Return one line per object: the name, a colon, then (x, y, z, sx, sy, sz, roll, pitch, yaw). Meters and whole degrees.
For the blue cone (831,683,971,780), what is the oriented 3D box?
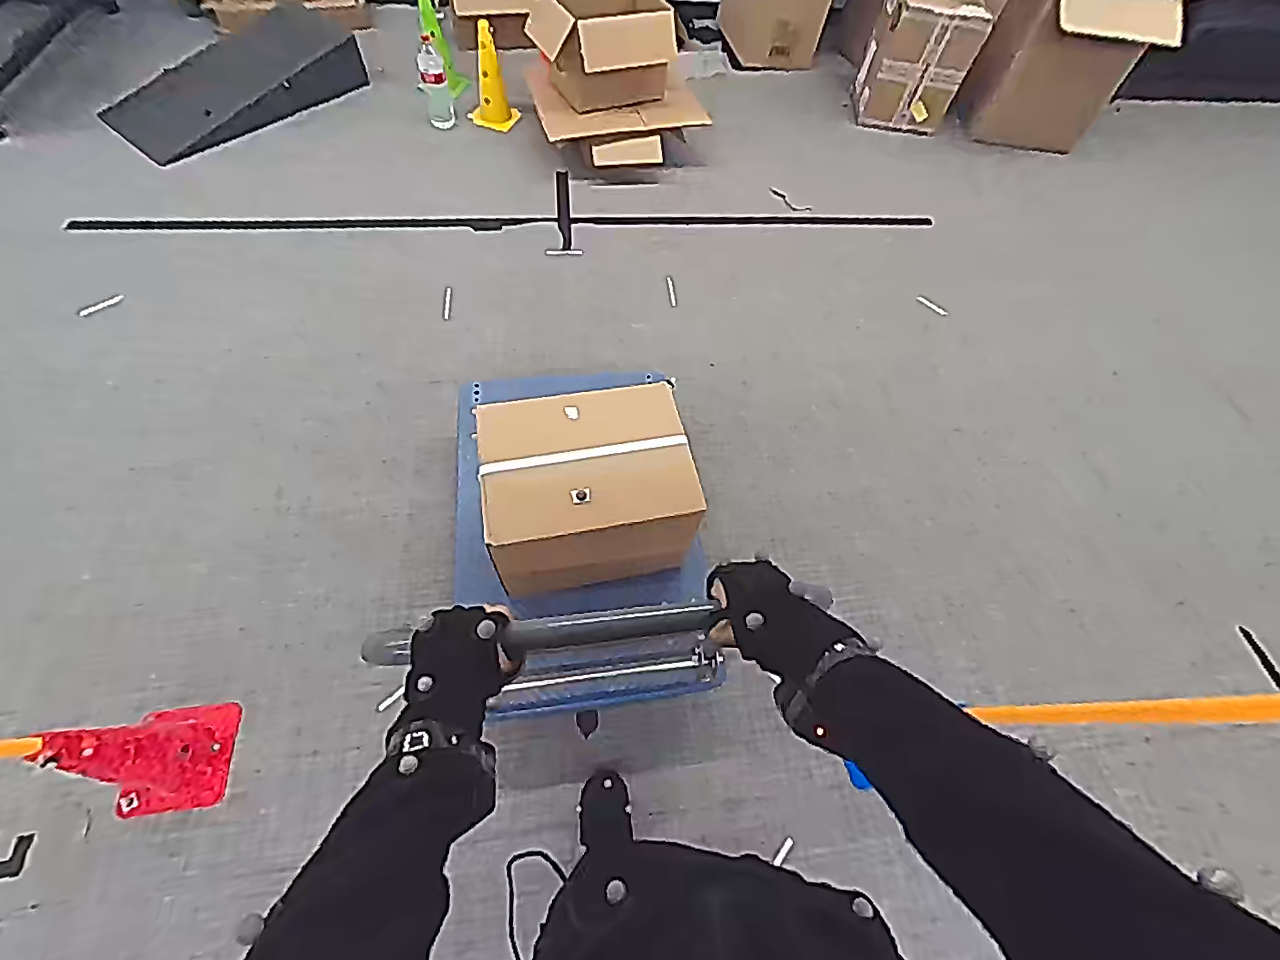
blue cone: (0.581, 0.513, 1.147, 0.193, 0.380, 0.192, -6, 60, -9)
